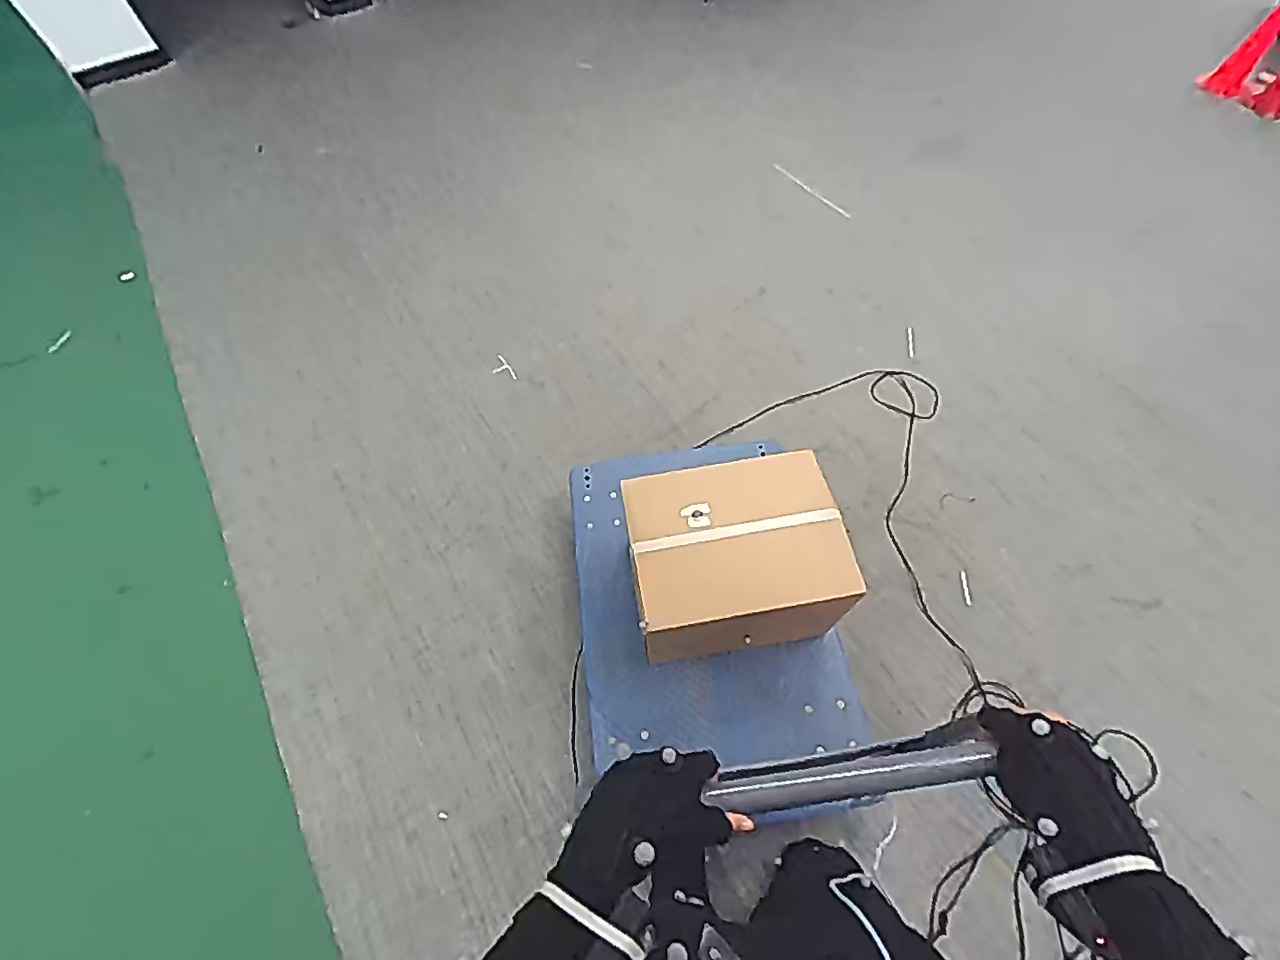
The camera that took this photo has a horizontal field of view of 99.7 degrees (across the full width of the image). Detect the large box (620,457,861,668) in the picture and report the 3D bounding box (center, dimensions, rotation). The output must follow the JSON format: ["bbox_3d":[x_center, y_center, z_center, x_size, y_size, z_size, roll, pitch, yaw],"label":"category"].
[{"bbox_3d":[0.191,0.191,1.170,0.408,0.320,0.320,-11,59,-2],"label":"large box"}]
